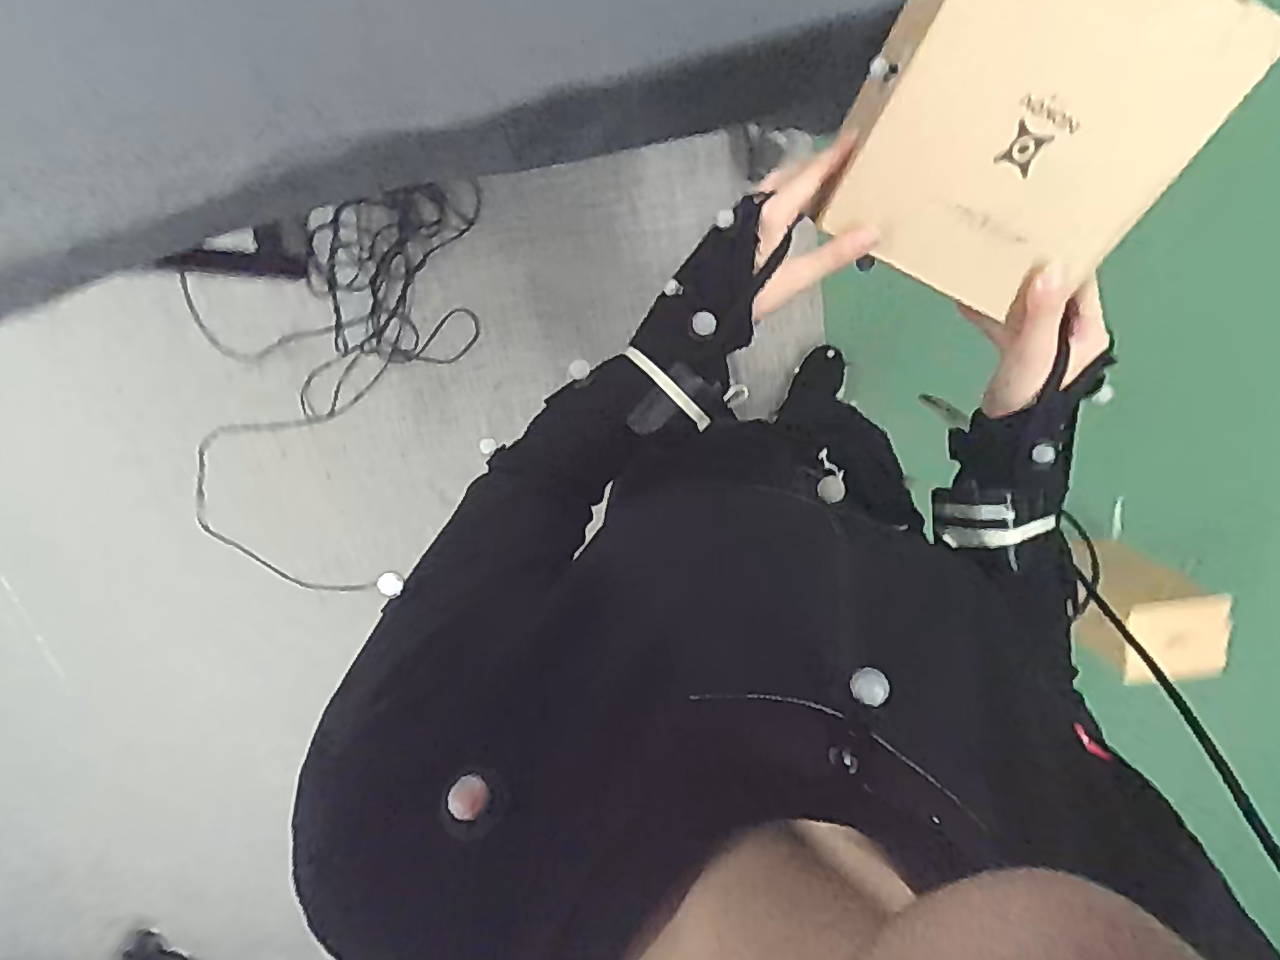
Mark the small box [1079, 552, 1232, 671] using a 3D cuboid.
[{"bbox_3d":[1.058,0.268,1.127,0.179,0.176,0.168,-12,106,8],"label":"small box"}]

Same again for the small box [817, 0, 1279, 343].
[{"bbox_3d":[0.242,-0.230,0.379,0.168,0.176,0.179,26,122,-4],"label":"small box"}]
